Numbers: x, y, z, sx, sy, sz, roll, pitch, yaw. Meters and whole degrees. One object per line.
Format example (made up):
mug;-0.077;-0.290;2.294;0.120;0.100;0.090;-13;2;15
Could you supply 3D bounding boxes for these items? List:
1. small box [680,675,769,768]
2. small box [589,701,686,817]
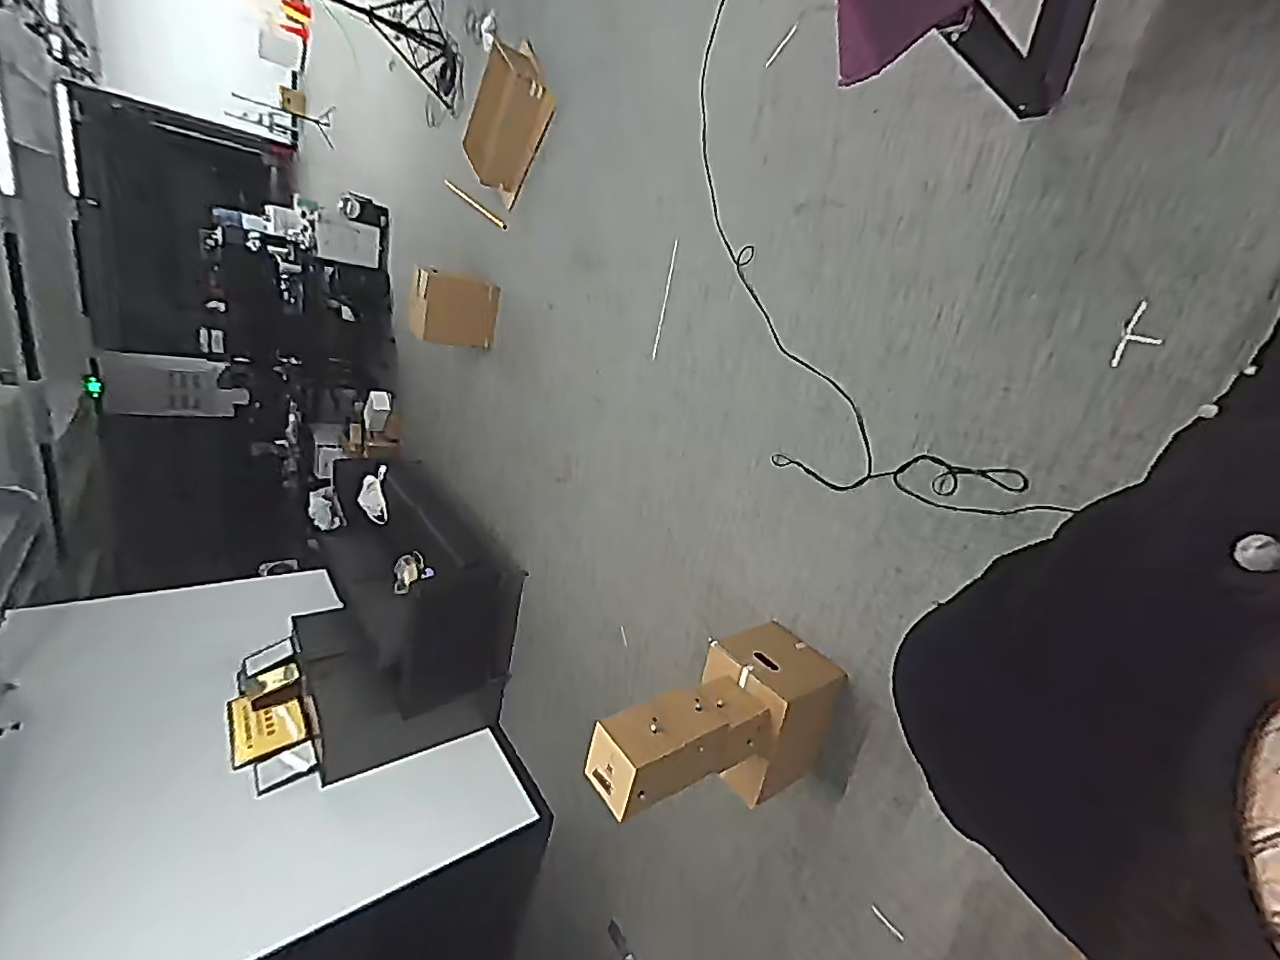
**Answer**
small box;0.250;0.701;1.599;0.179;0.176;0.168;28;114;45
small box;-0.005;0.707;1.390;0.168;0.176;0.179;32;116;44
